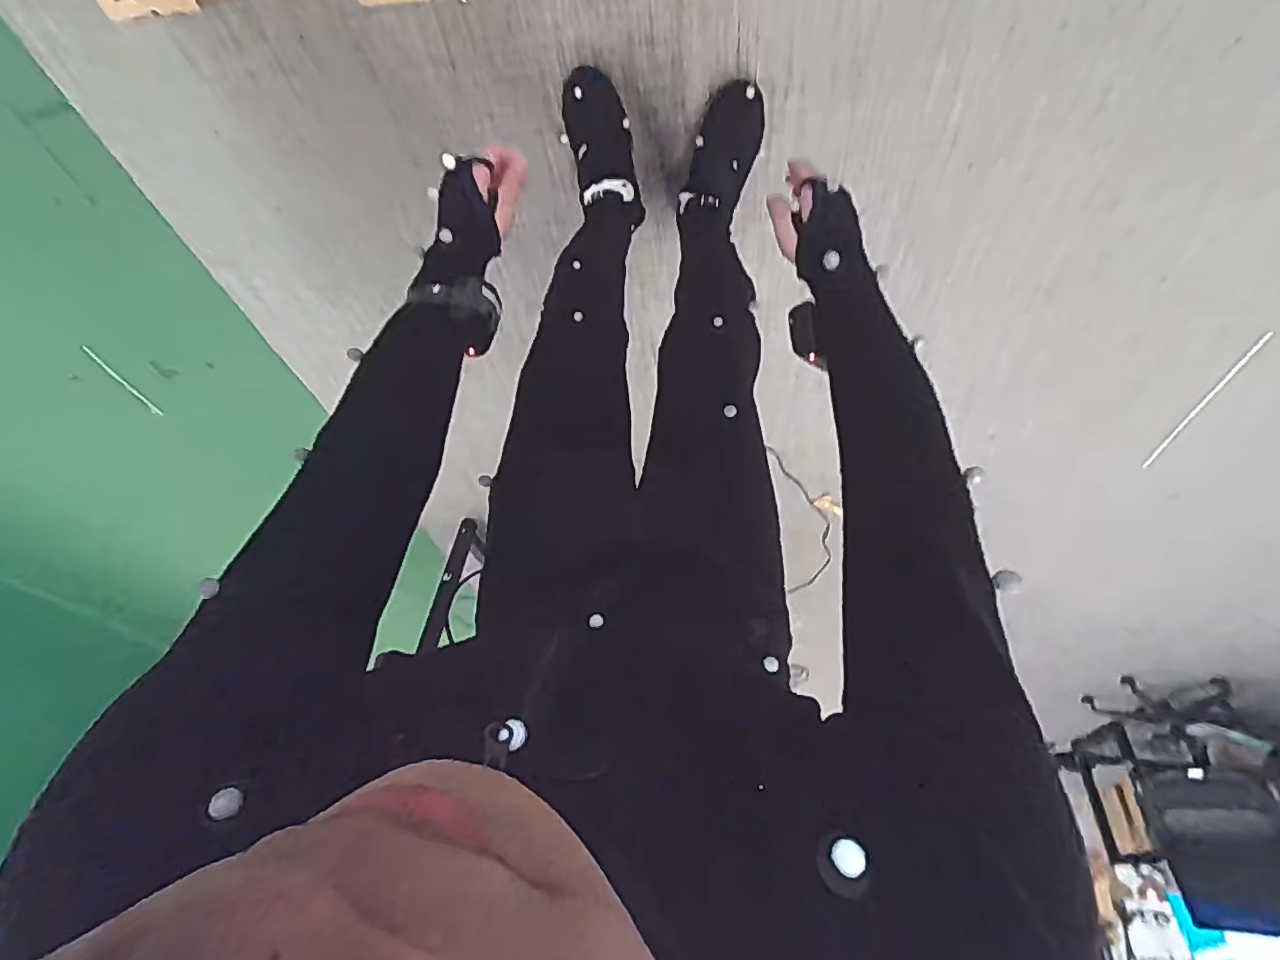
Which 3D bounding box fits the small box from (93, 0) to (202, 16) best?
[{"bbox_3d":[-0.730,-0.817,0.788,0.168,0.176,0.179,1,142,8],"label":"small box"}]
